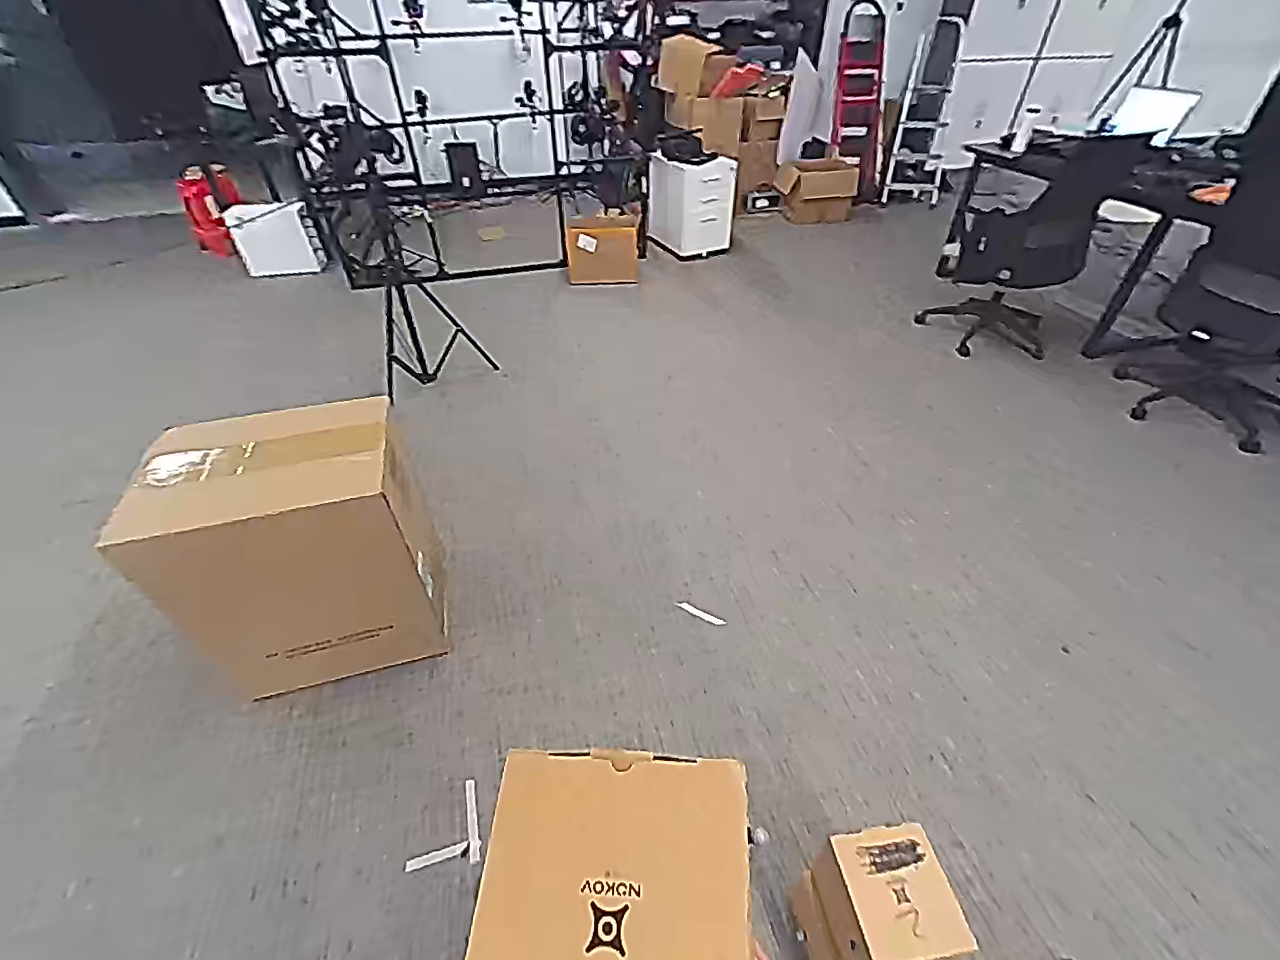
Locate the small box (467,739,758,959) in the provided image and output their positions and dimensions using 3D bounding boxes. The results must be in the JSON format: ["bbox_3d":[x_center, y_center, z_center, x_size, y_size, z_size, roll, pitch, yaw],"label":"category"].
[{"bbox_3d":[-0.005,0.297,0.373,0.168,0.176,0.179,-1,50,7],"label":"small box"}]

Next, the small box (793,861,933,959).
[{"bbox_3d":[0.404,0.841,1.006,0.179,0.176,0.168,-6,40,-5],"label":"small box"}]
